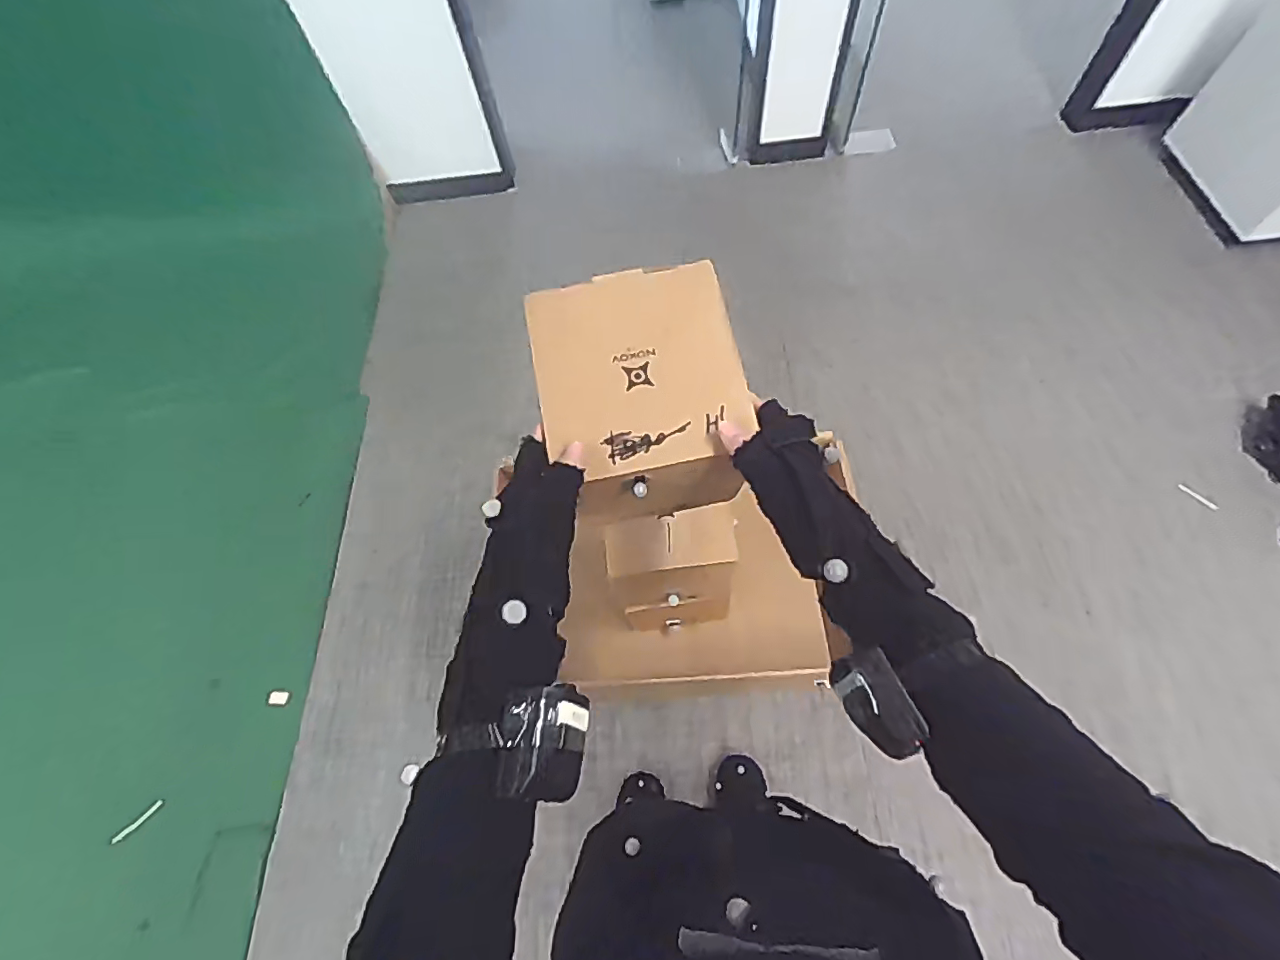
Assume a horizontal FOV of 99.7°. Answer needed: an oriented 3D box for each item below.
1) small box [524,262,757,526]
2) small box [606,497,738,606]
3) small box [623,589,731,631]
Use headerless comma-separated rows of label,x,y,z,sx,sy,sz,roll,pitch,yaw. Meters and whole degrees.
small box,-0.001,-0.068,0.513,0.168,0.176,0.179,-12,74,0
small box,0.042,0.069,0.777,0.168,0.176,0.179,-7,63,3
small box,0.055,0.145,0.921,0.168,0.176,0.179,-9,63,2
